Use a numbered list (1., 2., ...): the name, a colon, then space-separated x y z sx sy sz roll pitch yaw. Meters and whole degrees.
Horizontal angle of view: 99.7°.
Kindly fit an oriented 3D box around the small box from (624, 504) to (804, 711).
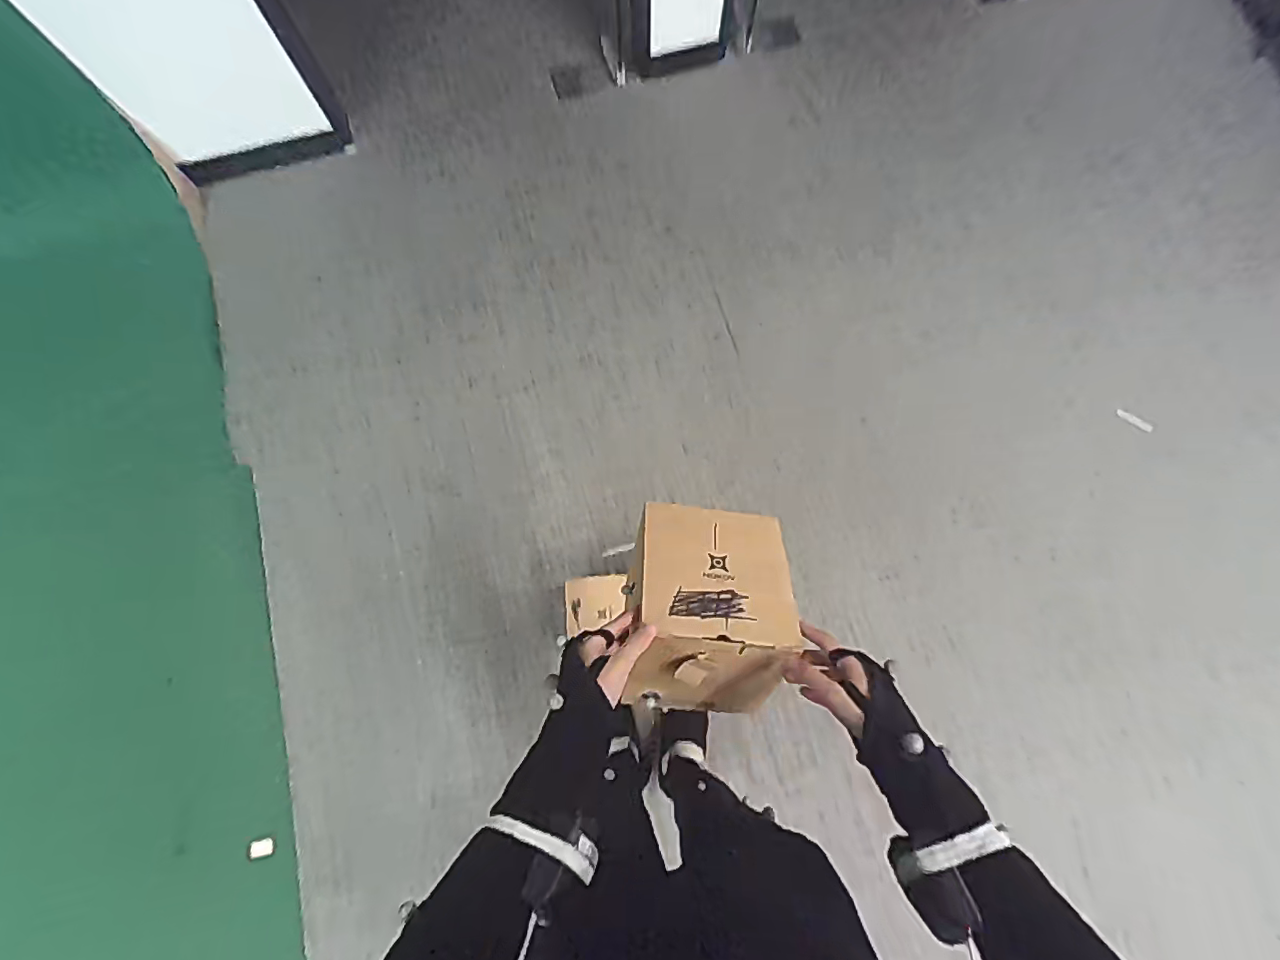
1. small box: 0.073 0.153 0.635 0.168 0.176 0.179 7 46 -5
